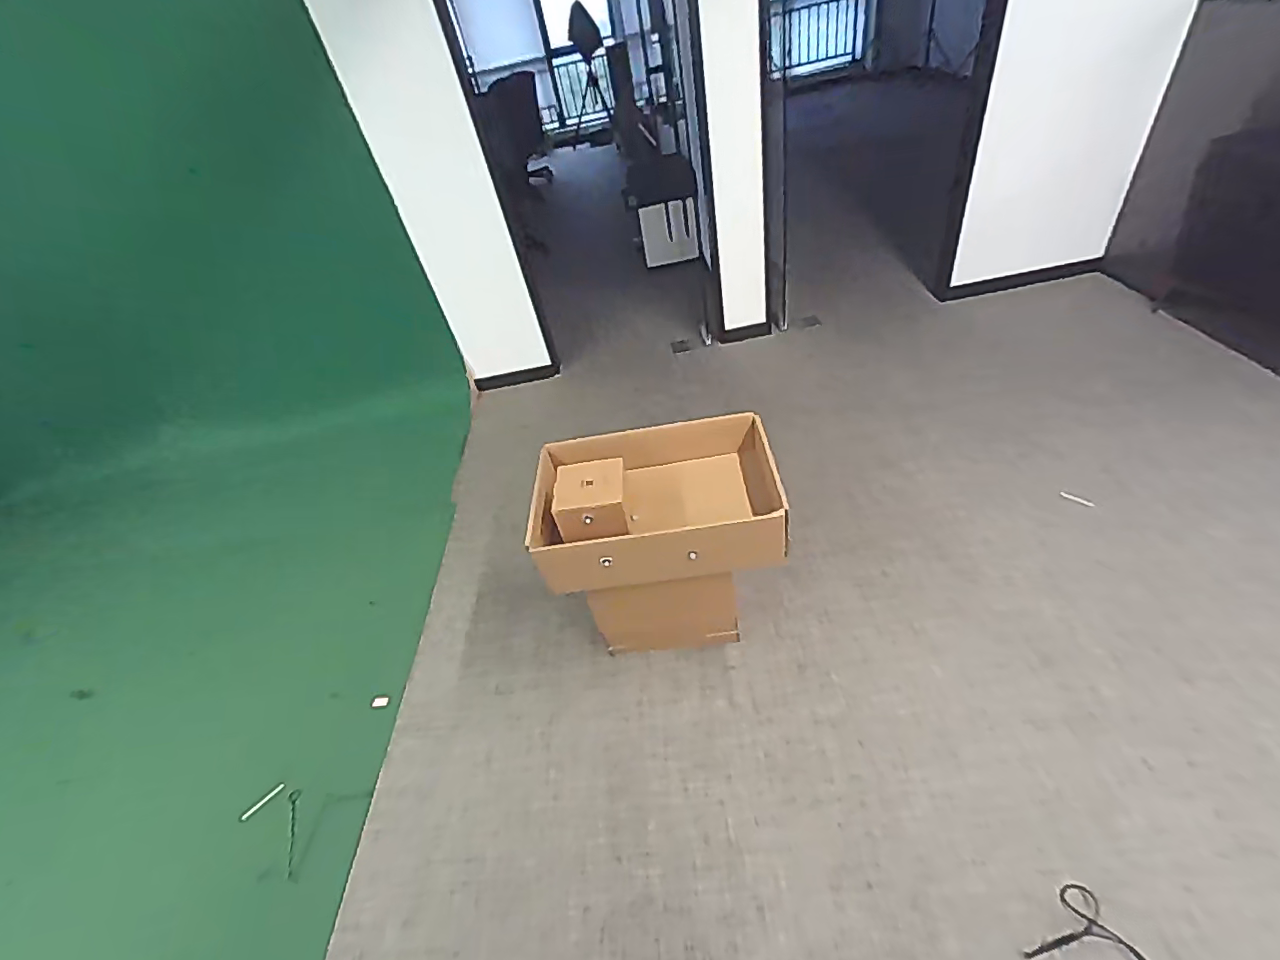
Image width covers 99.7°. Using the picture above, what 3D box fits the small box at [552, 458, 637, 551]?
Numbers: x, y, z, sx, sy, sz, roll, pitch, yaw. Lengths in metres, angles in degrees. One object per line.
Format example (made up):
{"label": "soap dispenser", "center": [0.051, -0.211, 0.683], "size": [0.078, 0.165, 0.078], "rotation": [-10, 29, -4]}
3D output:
{"label": "small box", "center": [-0.111, 0.068, 1.399], "size": [0.179, 0.176, 0.168], "rotation": [-9, 42, 7]}
